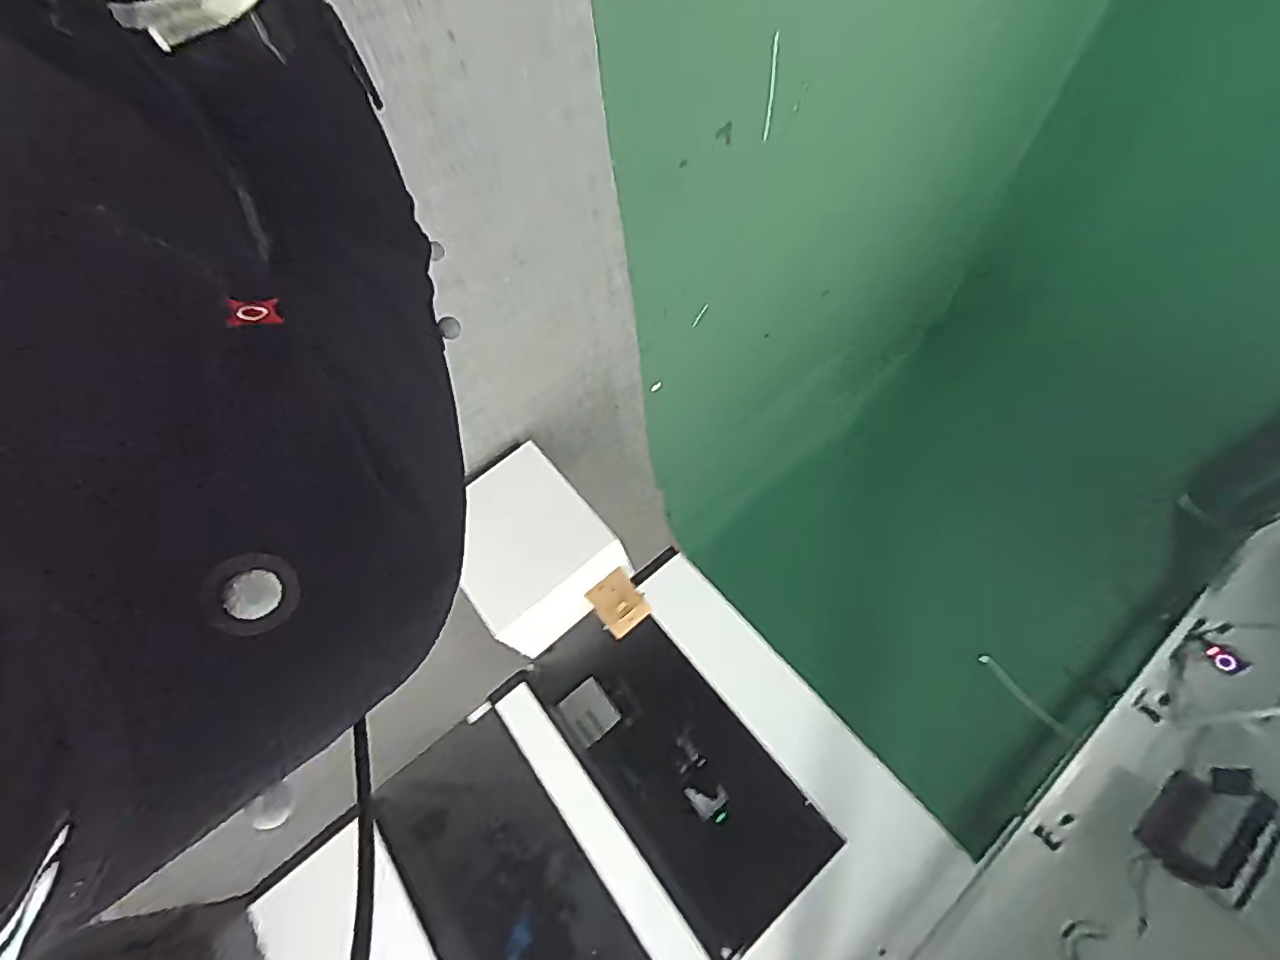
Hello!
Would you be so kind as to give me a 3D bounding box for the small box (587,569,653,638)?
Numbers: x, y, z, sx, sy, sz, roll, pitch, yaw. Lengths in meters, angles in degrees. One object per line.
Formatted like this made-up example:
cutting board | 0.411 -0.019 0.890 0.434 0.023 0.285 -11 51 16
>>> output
small box | -0.076 0.465 2.045 0.168 0.176 0.179 -38 152 -10
